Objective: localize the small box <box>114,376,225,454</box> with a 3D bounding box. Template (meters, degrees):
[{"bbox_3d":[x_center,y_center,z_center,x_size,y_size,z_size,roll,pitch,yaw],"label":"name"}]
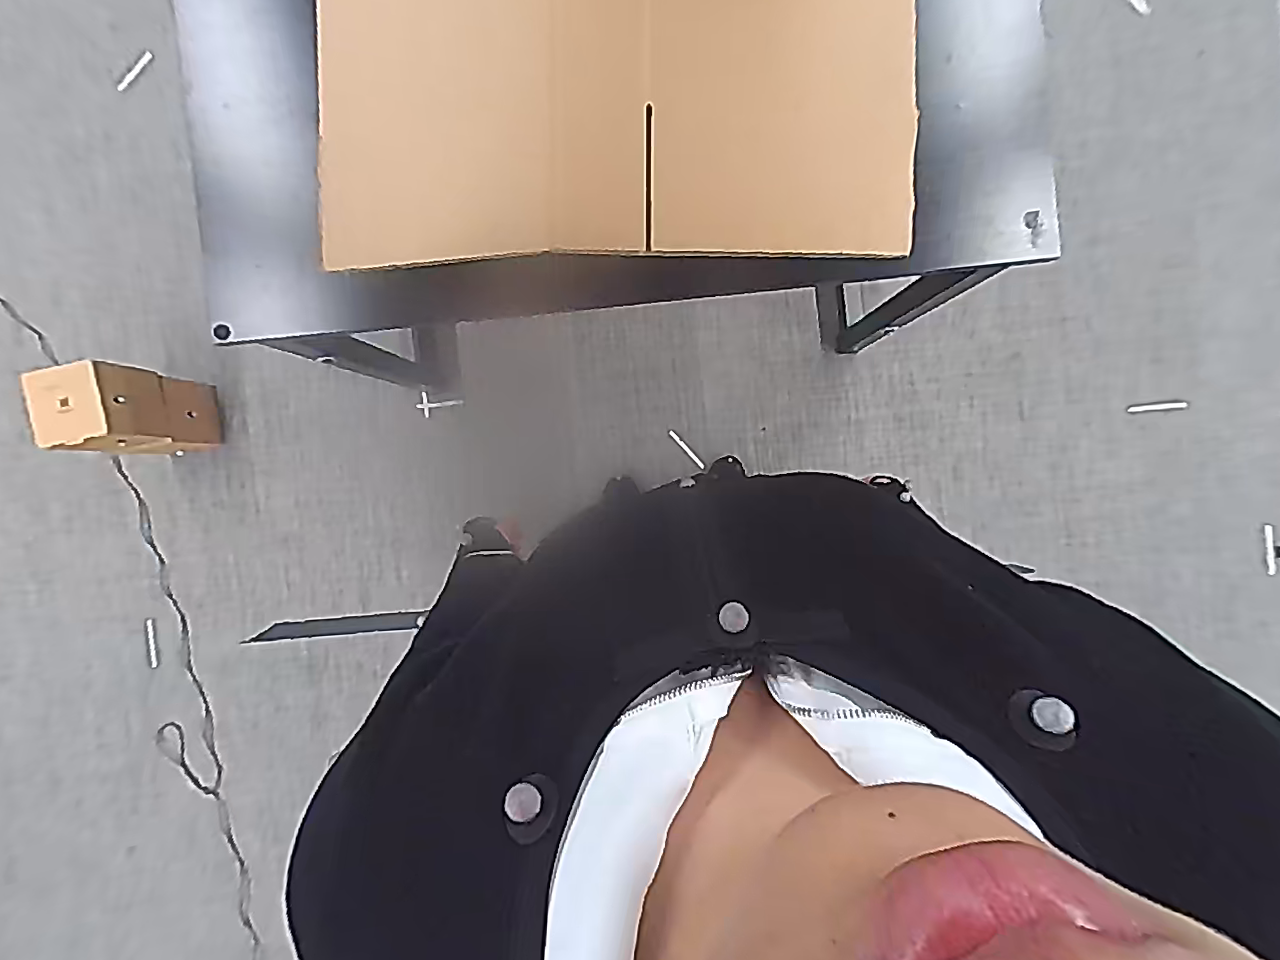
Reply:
[{"bbox_3d":[-1.268,-0.169,1.452,0.168,0.176,0.179,-10,92,2],"label":"small box"}]

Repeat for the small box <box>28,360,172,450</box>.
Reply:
[{"bbox_3d":[-1.274,-0.171,1.290,0.168,0.176,0.179,-12,90,1],"label":"small box"}]
